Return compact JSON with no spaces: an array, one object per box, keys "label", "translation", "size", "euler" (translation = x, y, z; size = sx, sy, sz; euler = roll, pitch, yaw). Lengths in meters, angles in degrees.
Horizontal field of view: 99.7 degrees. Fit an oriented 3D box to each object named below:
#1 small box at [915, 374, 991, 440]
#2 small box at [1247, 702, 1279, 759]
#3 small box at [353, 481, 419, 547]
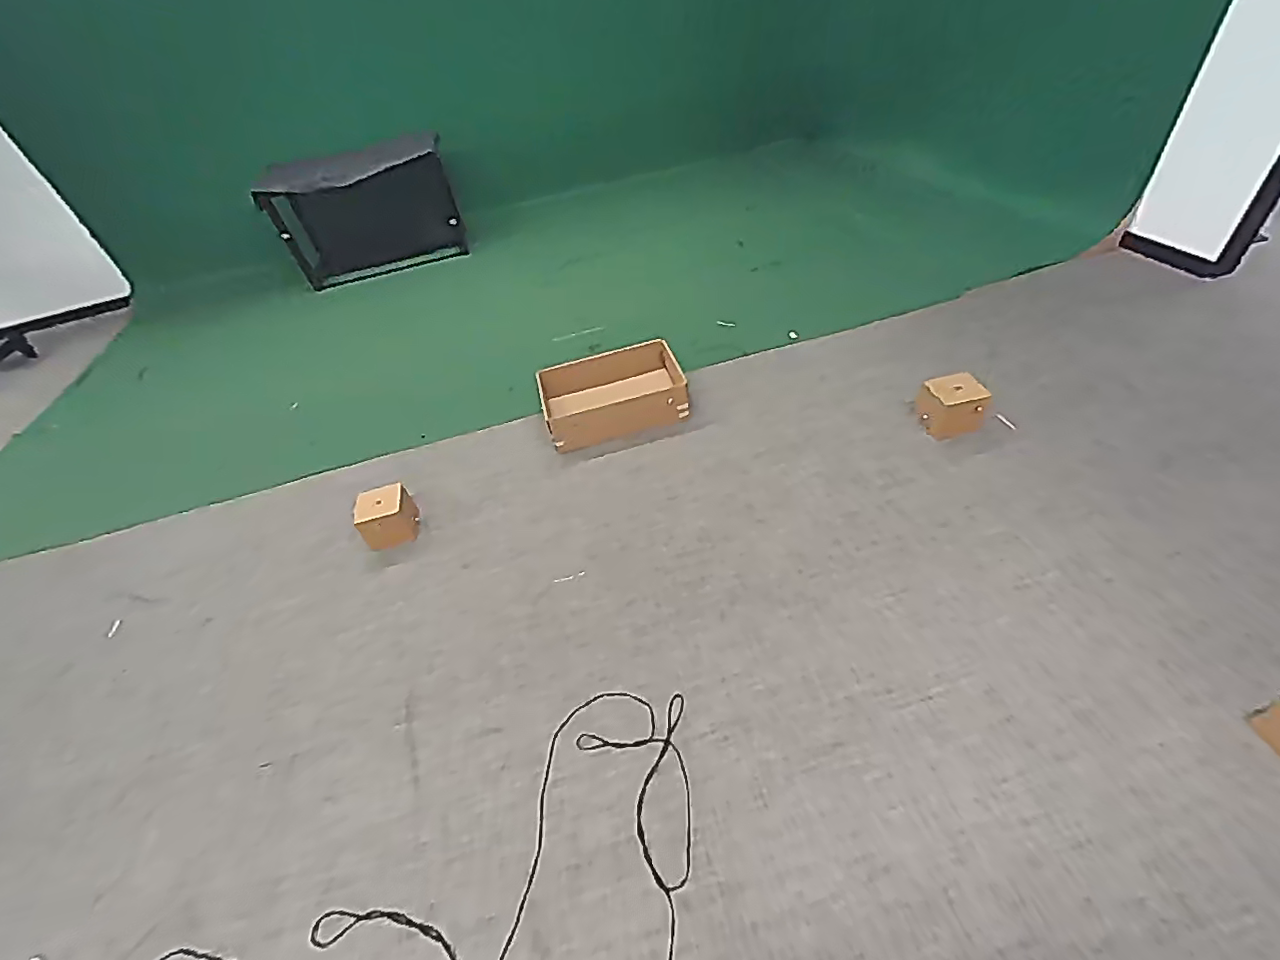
[{"label":"small box","translation":[1.189,-0.276,2.068],"size":[0.179,0.176,0.168],"euler":[-12,44,0]},{"label":"small box","translation":[1.514,0.560,1.168],"size":[0.168,0.176,0.179],"euler":[-15,44,-4]},{"label":"small box","translation":[-0.981,0.137,2.100],"size":[0.179,0.176,0.168],"euler":[-16,46,-6]}]
